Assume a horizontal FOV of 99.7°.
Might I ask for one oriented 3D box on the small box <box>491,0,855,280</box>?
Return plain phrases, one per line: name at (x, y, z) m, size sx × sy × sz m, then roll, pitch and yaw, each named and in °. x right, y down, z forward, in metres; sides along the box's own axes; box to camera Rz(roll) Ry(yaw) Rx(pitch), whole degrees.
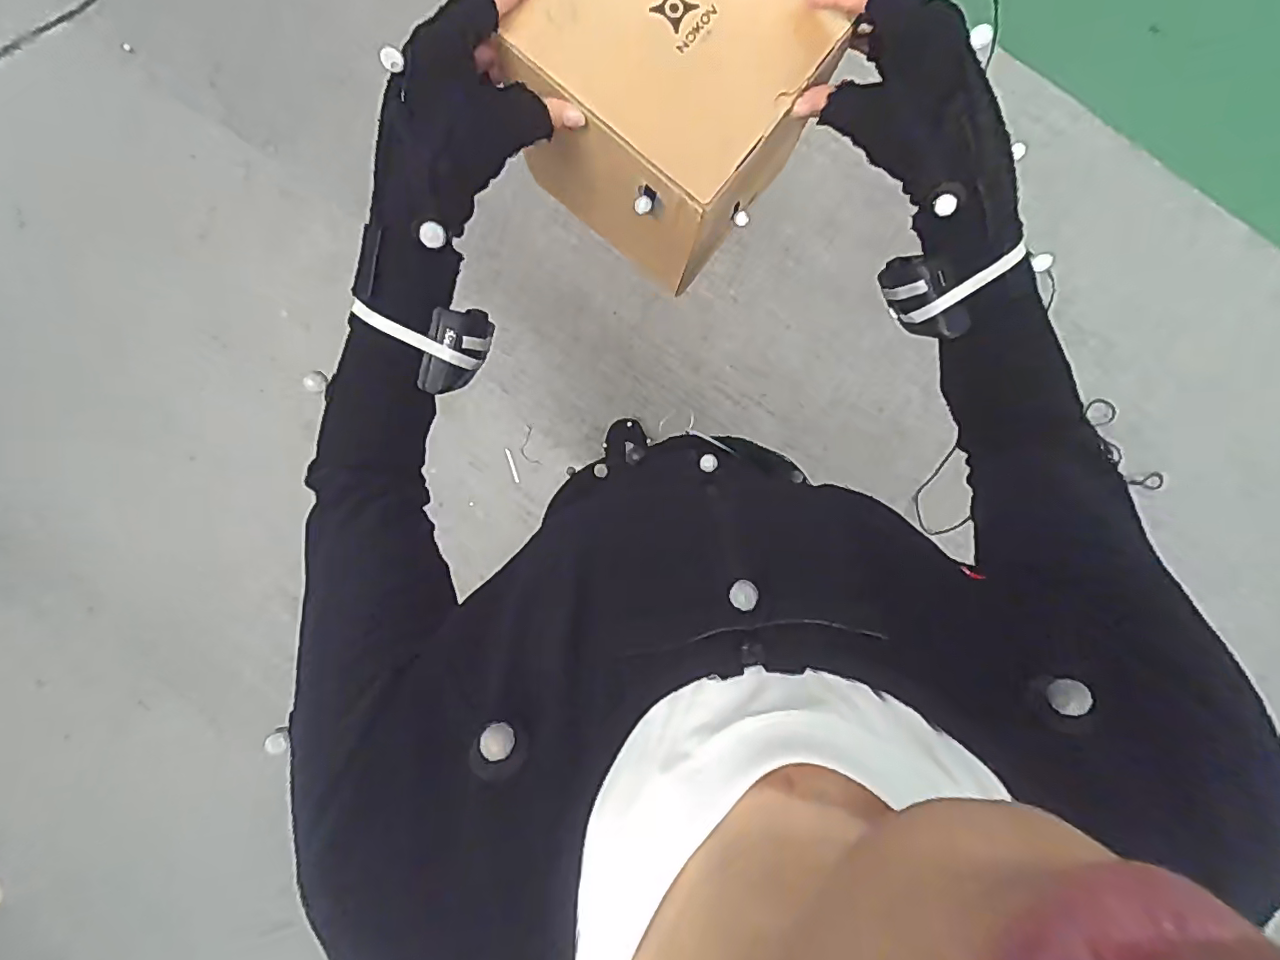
small box at (0.017, -0.291, 0.419) m, size 0.179 × 0.176 × 0.168 m, roll 40°, pitch 88°, yaw -4°
